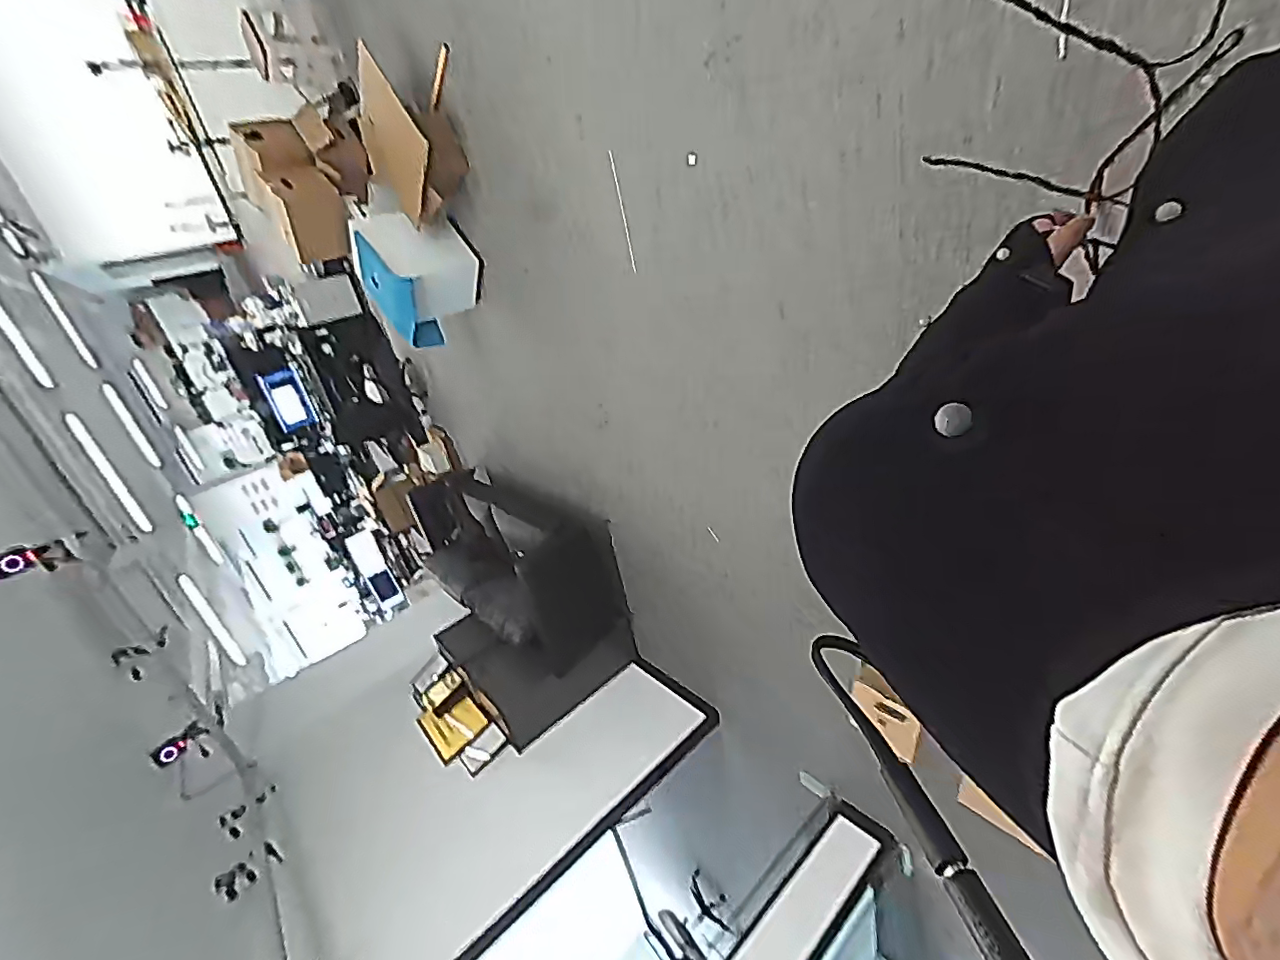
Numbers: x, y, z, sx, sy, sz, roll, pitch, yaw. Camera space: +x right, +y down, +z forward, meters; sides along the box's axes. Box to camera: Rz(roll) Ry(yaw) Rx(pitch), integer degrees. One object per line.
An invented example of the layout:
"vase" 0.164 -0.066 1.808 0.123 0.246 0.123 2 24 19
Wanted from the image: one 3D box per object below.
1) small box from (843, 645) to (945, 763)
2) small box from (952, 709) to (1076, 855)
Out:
"small box" 0.634 0.550 1.351 0.168 0.176 0.179 26 134 43
"small box" 0.808 0.646 1.172 0.168 0.176 0.179 23 132 44
